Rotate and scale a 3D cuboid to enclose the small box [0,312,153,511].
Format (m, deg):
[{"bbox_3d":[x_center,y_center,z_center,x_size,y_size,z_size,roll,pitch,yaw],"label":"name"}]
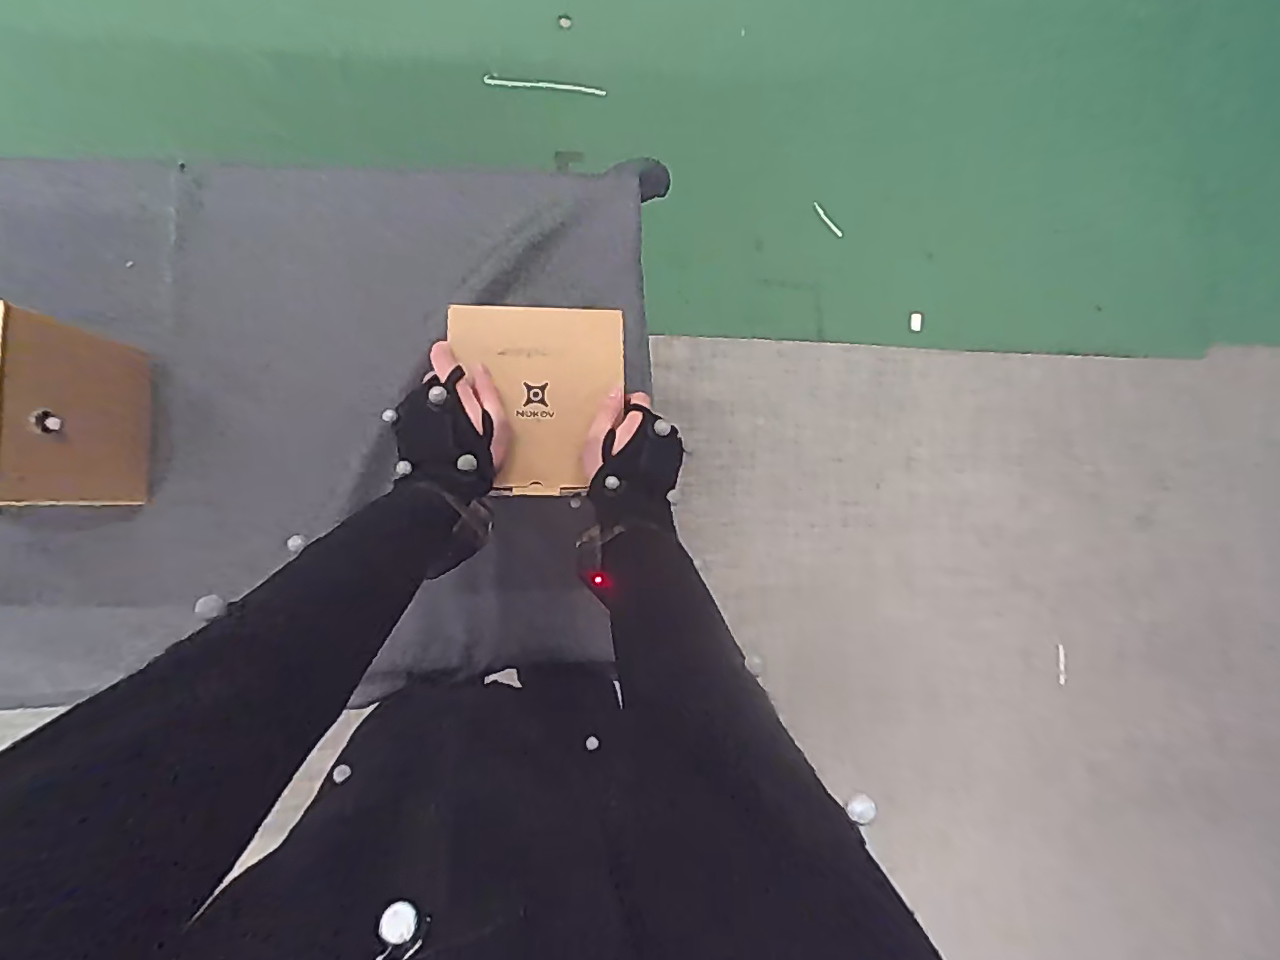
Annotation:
[{"bbox_3d":[-0.632,-0.057,0.531,0.168,0.176,0.179,0,87,-6],"label":"small box"}]

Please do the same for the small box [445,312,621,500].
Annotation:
[{"bbox_3d":[-0.107,-0.067,0.585,0.168,0.176,0.179,-1,87,-7],"label":"small box"}]
